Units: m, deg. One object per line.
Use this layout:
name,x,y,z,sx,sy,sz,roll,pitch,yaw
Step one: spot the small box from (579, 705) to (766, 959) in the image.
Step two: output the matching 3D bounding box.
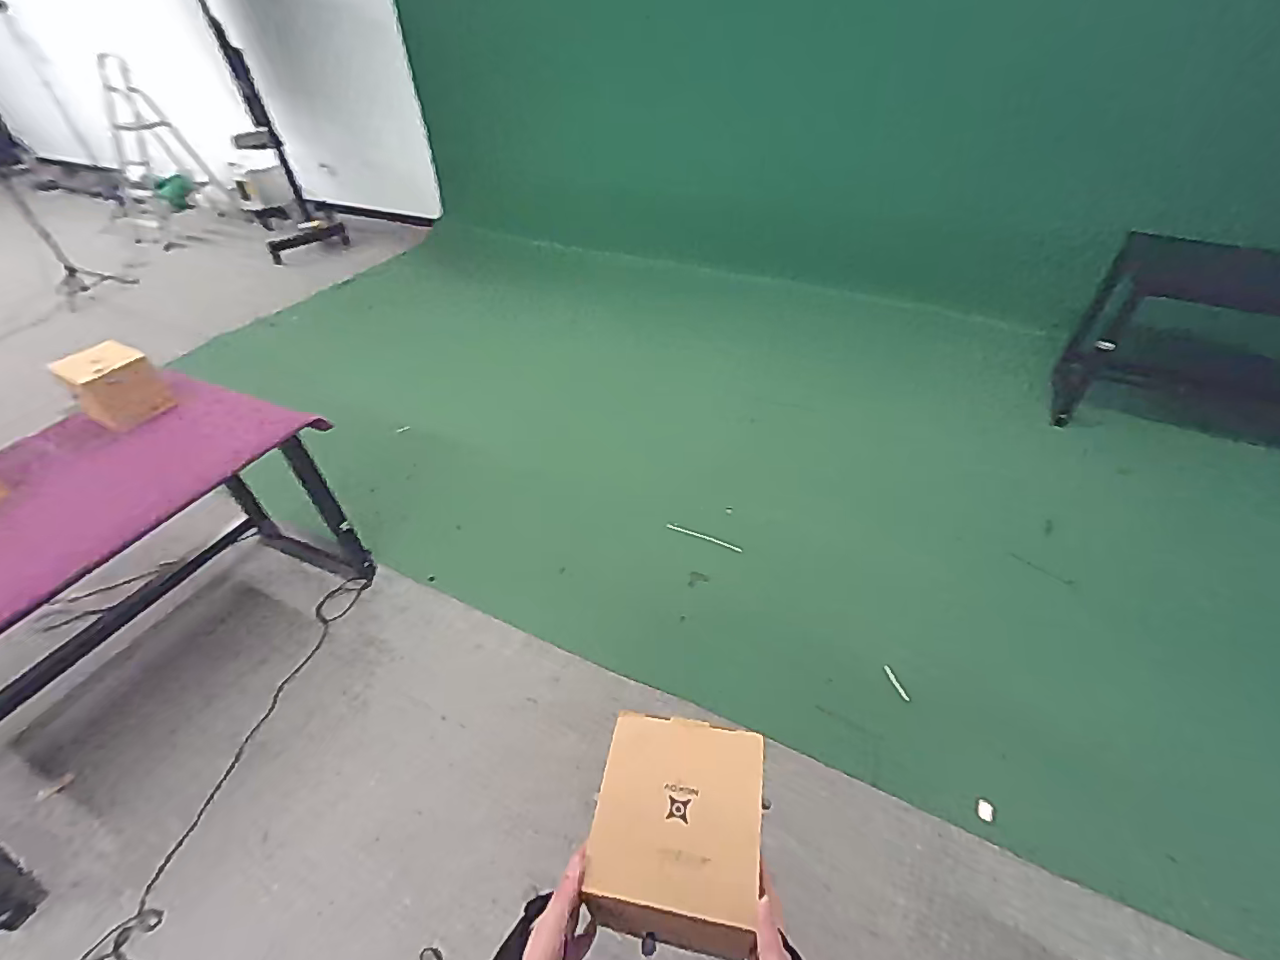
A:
small box,0.042,0.381,0.590,0.168,0.176,0.179,6,42,10

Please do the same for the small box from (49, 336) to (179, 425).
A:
small box,-1.469,-0.278,1.520,0.179,0.176,0.168,20,49,20
